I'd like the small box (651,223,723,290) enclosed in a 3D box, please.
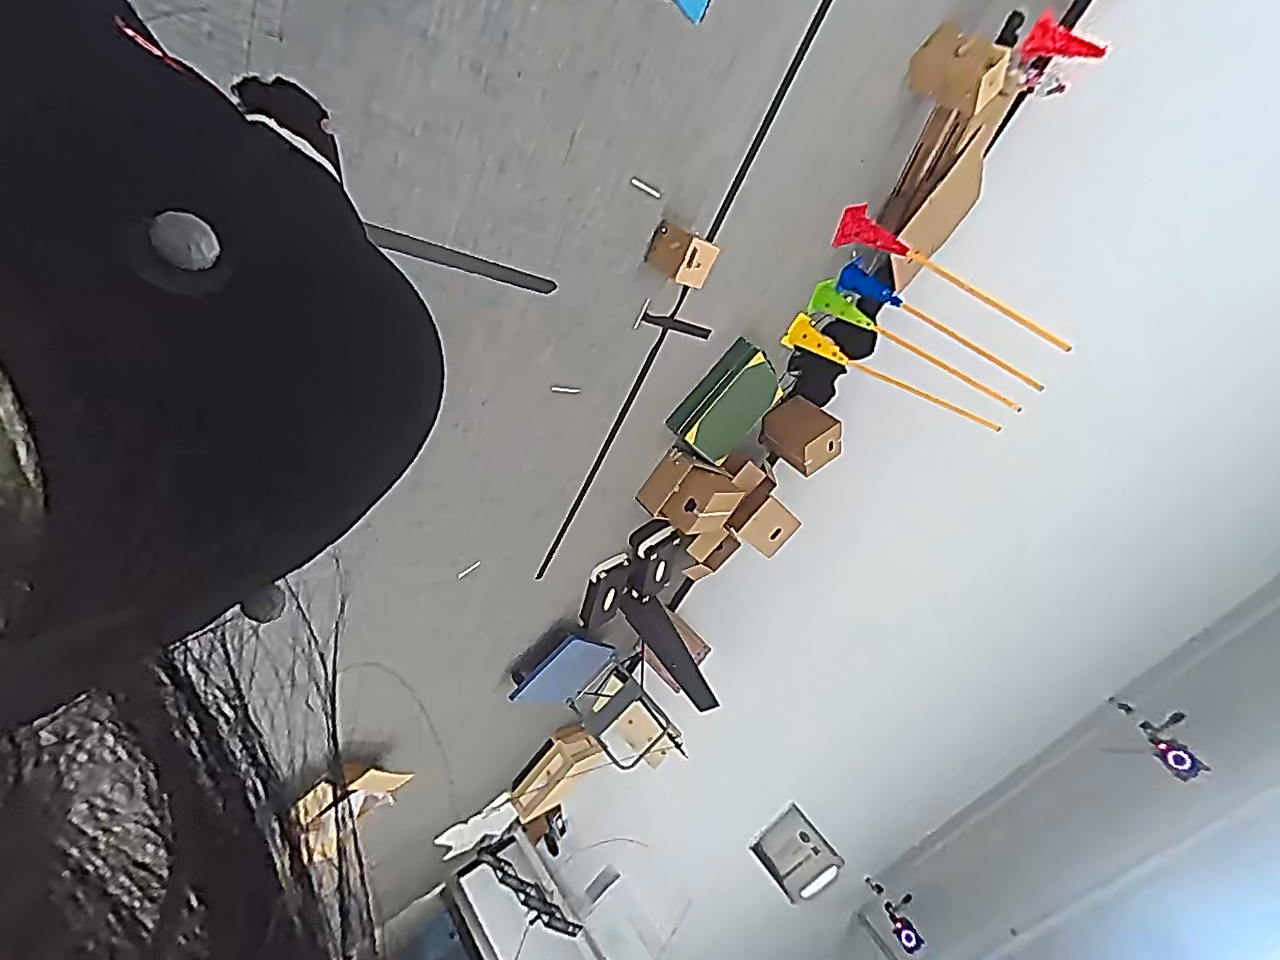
[{"bbox_3d":[0.172,-0.842,2.031,0.179,0.176,0.168,-8,134,-50],"label":"small box"}]
